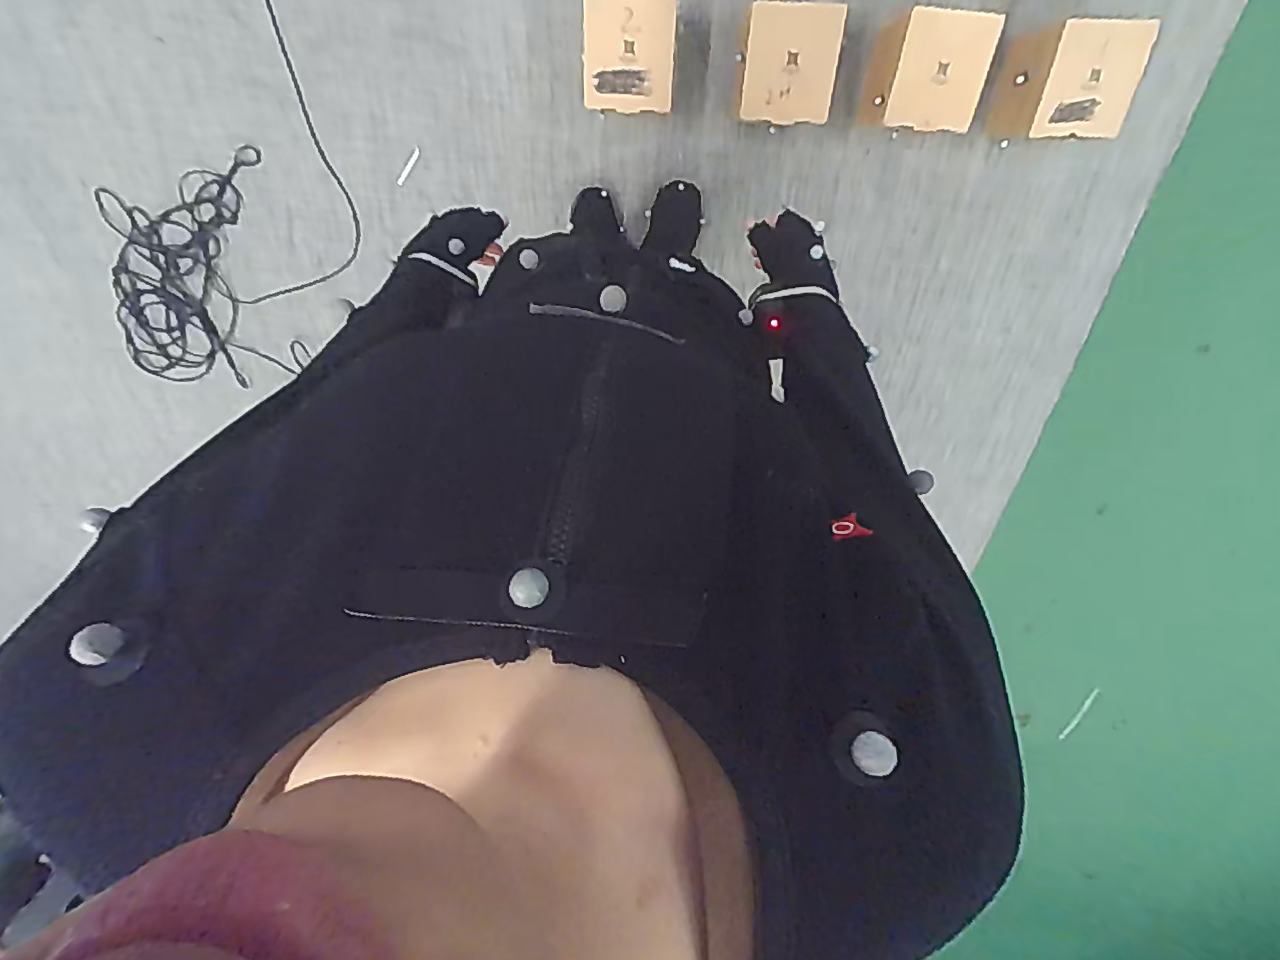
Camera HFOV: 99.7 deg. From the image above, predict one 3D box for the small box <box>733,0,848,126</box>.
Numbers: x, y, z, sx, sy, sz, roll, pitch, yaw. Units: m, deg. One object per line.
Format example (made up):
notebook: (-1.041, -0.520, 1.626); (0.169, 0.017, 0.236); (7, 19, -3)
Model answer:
small box: (0.274, -0.789, 1.034); (0.168, 0.176, 0.179); (4, 122, 2)

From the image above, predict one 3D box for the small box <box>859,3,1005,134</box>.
small box: (0.542, -0.775, 1.035); (0.168, 0.176, 0.179); (5, 122, -1)

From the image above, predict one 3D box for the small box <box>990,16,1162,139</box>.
small box: (0.810, -0.757, 1.033); (0.168, 0.176, 0.179); (2, 121, 1)
